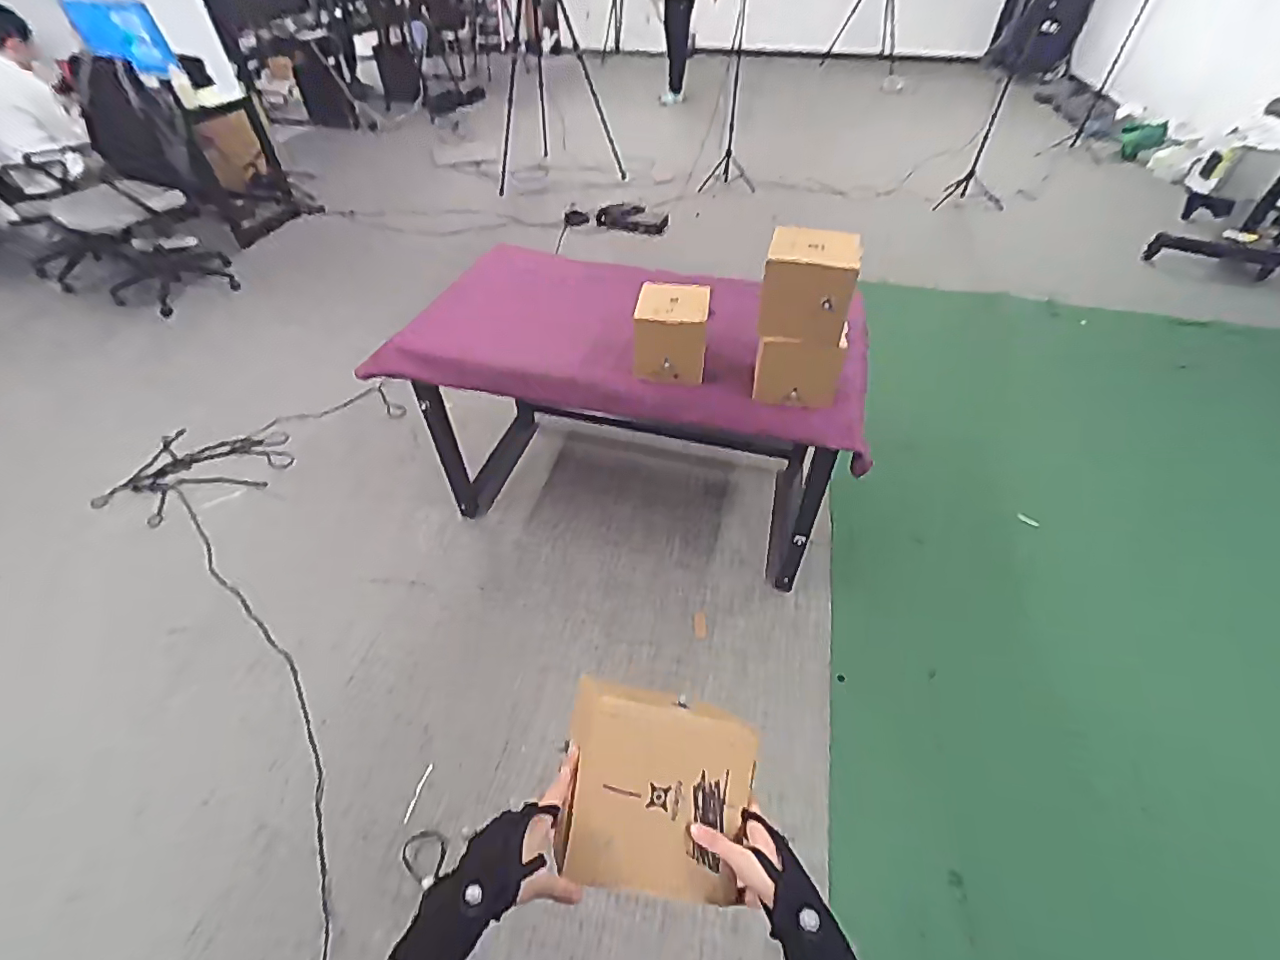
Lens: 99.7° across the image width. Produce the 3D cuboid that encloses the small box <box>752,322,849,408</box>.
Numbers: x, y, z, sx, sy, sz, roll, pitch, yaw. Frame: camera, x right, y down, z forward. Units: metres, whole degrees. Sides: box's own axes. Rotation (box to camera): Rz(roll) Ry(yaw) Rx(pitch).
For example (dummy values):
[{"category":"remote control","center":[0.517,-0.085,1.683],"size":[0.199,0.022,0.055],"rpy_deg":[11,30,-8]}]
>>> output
[{"category":"small box","center":[0.361,-0.283,1.233],"size":[0.179,0.176,0.168],"rpy_deg":[7,47,8]}]

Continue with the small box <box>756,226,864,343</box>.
[{"category":"small box","center":[0.350,-0.404,1.122],"size":[0.179,0.176,0.168],"rpy_deg":[11,47,13]}]

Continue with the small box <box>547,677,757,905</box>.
[{"category":"small box","center":[0.004,0.327,0.602],"size":[0.179,0.176,0.168],"rpy_deg":[16,74,-9]}]

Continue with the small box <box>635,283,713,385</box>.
[{"category":"small box","center":[0.081,-0.353,1.305],"size":[0.168,0.176,0.179],"rpy_deg":[5,46,7]}]
